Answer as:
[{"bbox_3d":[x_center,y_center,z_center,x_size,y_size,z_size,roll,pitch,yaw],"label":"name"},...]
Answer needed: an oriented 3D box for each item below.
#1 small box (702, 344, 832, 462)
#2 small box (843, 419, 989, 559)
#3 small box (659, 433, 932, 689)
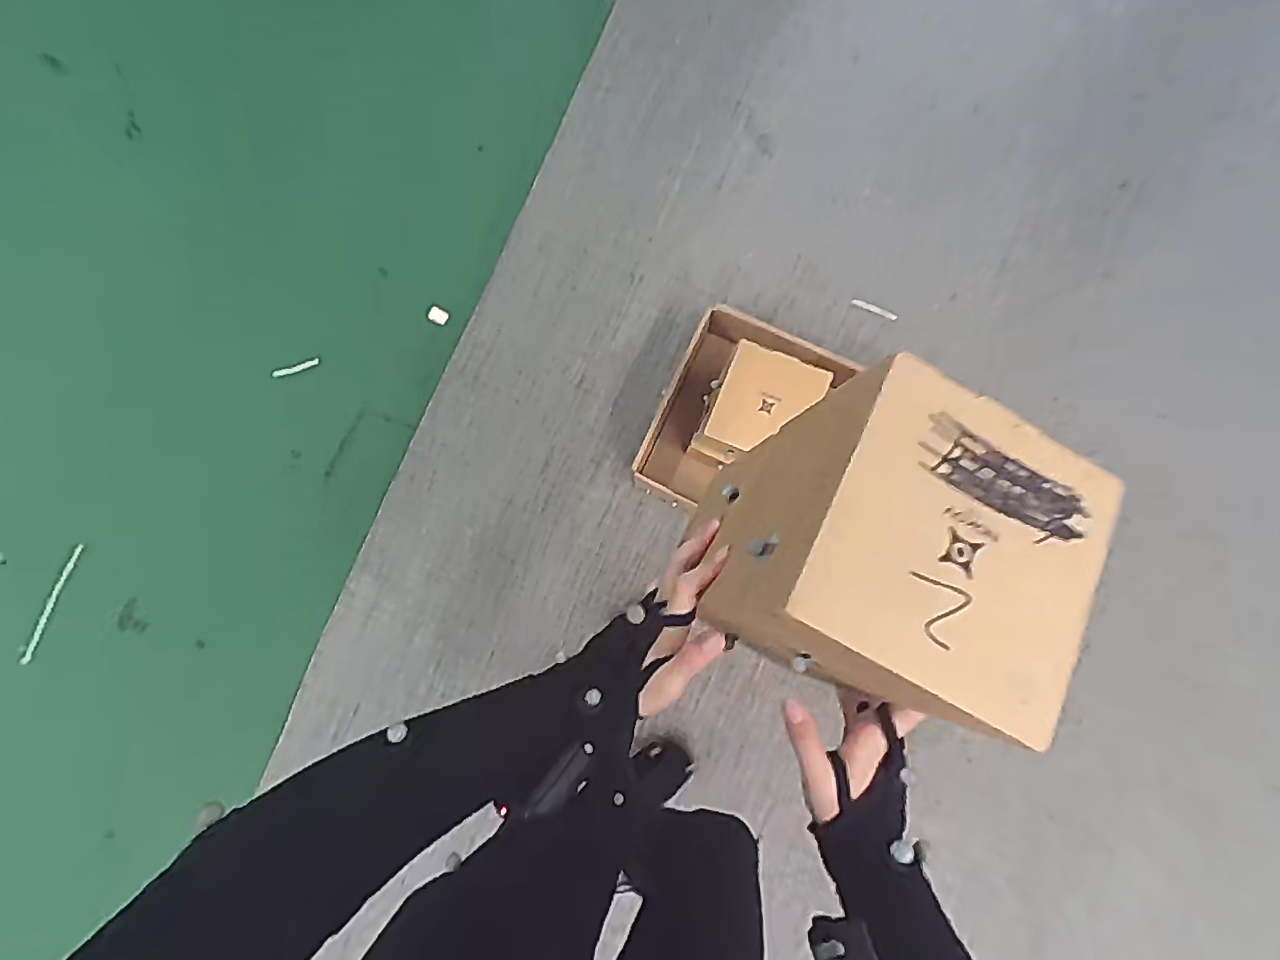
[{"bbox_3d":[0.216,-0.114,0.972,0.168,0.176,0.179,22,88,3],"label":"small box"},{"bbox_3d":[0.455,0.019,0.951,0.168,0.176,0.179,29,88,4],"label":"small box"},{"bbox_3d":[0.142,0.081,0.547,0.179,0.176,0.168,30,75,-3],"label":"small box"}]
